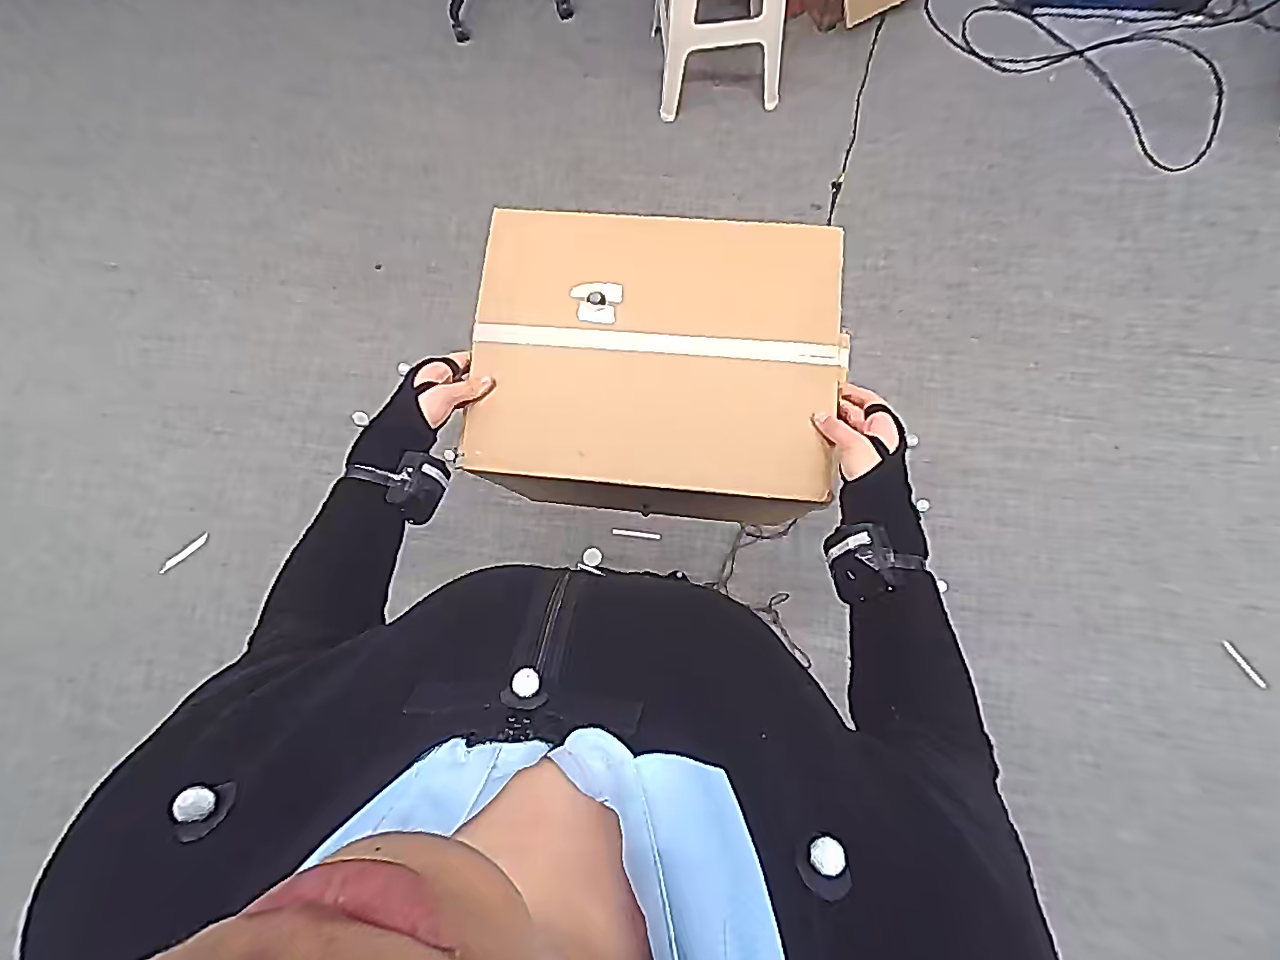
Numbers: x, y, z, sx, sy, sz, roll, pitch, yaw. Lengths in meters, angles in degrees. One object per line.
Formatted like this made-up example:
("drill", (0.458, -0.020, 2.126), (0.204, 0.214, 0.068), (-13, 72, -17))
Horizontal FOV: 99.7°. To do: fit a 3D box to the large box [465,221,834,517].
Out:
("large box", (0.027, -0.124, 0.753), (0.408, 0.320, 0.320), (5, 80, 6))
